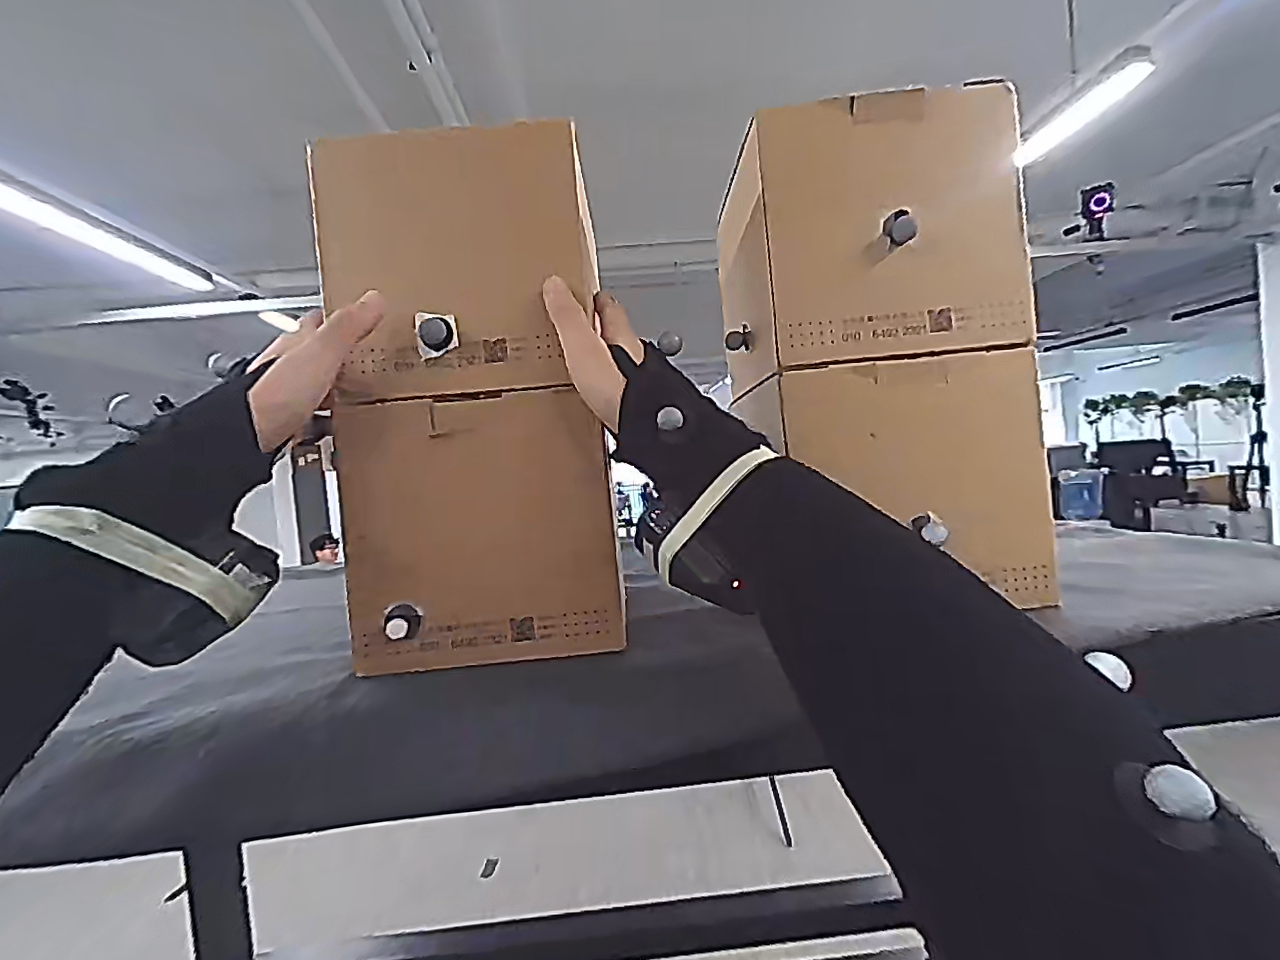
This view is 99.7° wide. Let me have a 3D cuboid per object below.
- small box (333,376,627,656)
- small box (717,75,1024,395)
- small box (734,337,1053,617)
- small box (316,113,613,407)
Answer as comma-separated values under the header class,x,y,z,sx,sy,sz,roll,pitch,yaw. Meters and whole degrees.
class,x,y,z,sx,sy,sz,roll,pitch,yaw
small box,-0.099,0.028,0.410,0.168,0.176,0.179,-5,-1,-2
small box,0.160,-0.163,0.420,0.168,0.176,0.179,-6,1,0
small box,0.175,0.001,0.422,0.168,0.176,0.179,-7,1,-1
small box,-0.112,-0.134,0.412,0.168,0.176,0.179,-6,1,-1
